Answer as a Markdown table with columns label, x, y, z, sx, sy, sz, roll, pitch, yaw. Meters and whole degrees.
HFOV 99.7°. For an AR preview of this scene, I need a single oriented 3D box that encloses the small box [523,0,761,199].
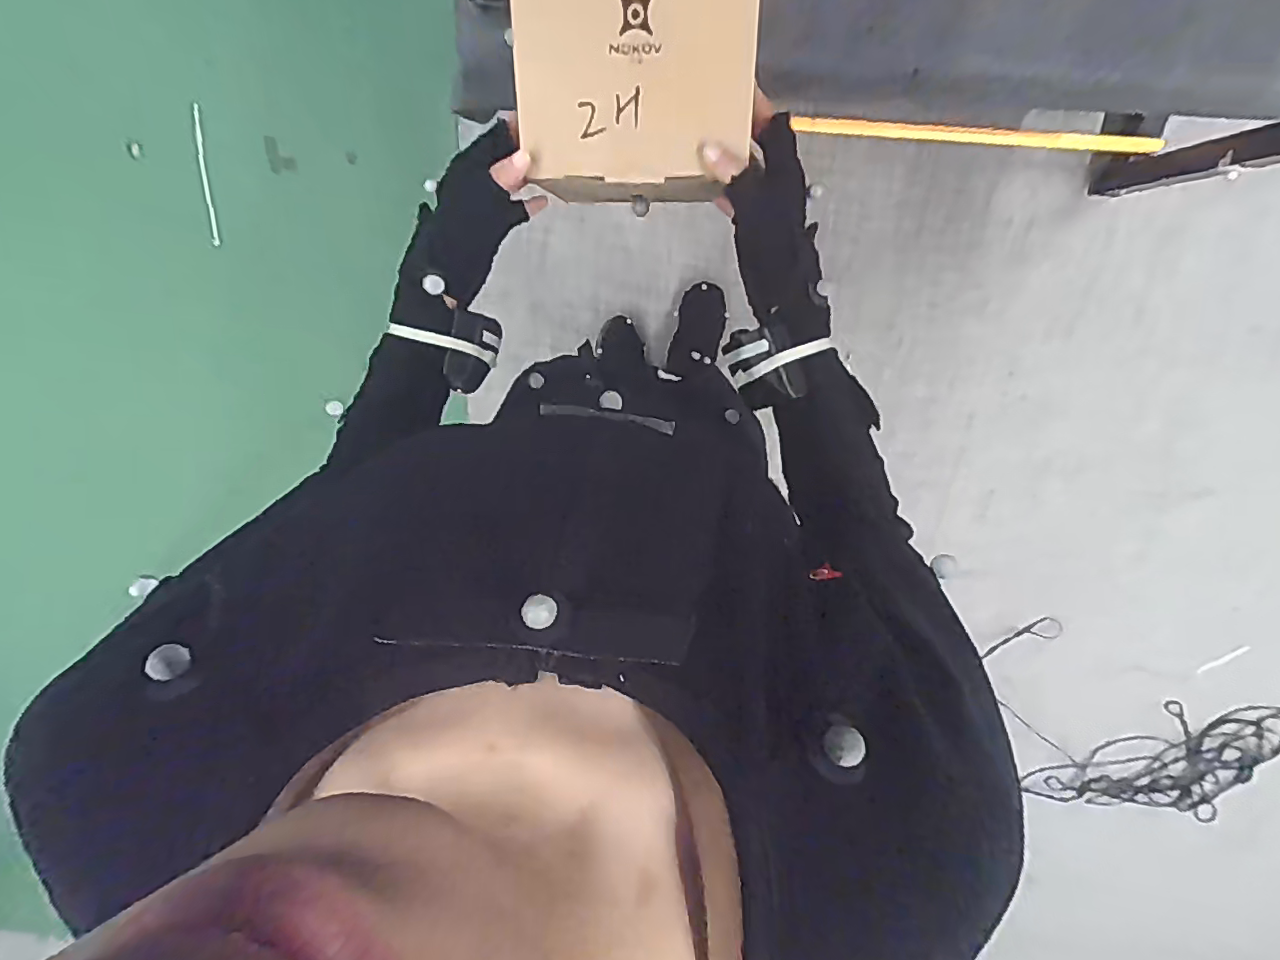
| label | x | y | z | sx | sy | sz | roll | pitch | yaw |
| --- | --- | --- | --- | --- | --- | --- | --- | --- | --- |
| small box | 0.004 | -0.342 | 0.447 | 0.168 | 0.176 | 0.179 | 2 | 111 | 3 |
